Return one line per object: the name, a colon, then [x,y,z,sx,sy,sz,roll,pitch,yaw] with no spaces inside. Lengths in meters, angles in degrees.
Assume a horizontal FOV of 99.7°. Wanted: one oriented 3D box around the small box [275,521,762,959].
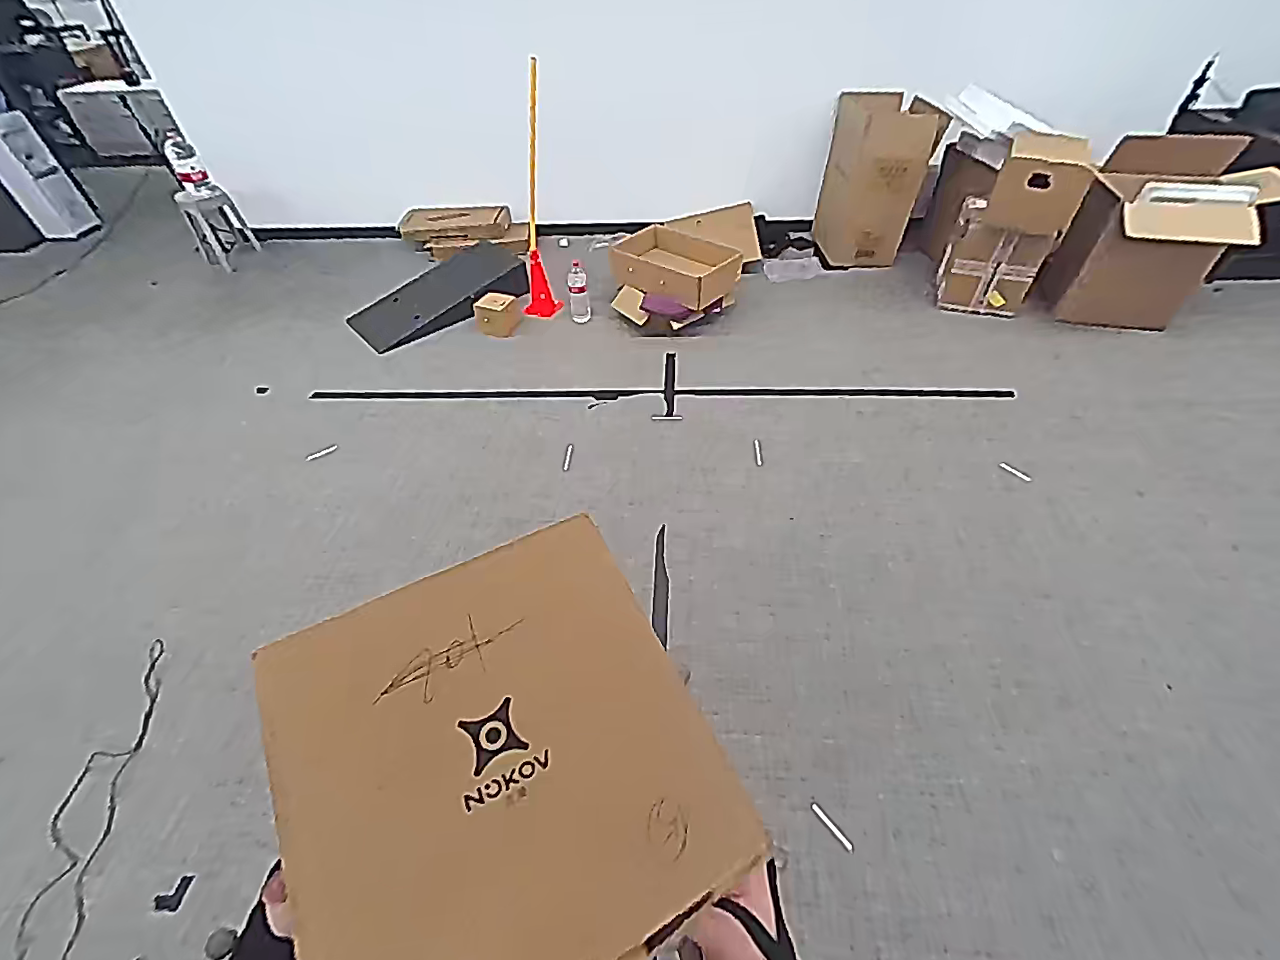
small box: [-0.064,0.161,0.304,0.168,0.176,0.179,-24,59,-21]
